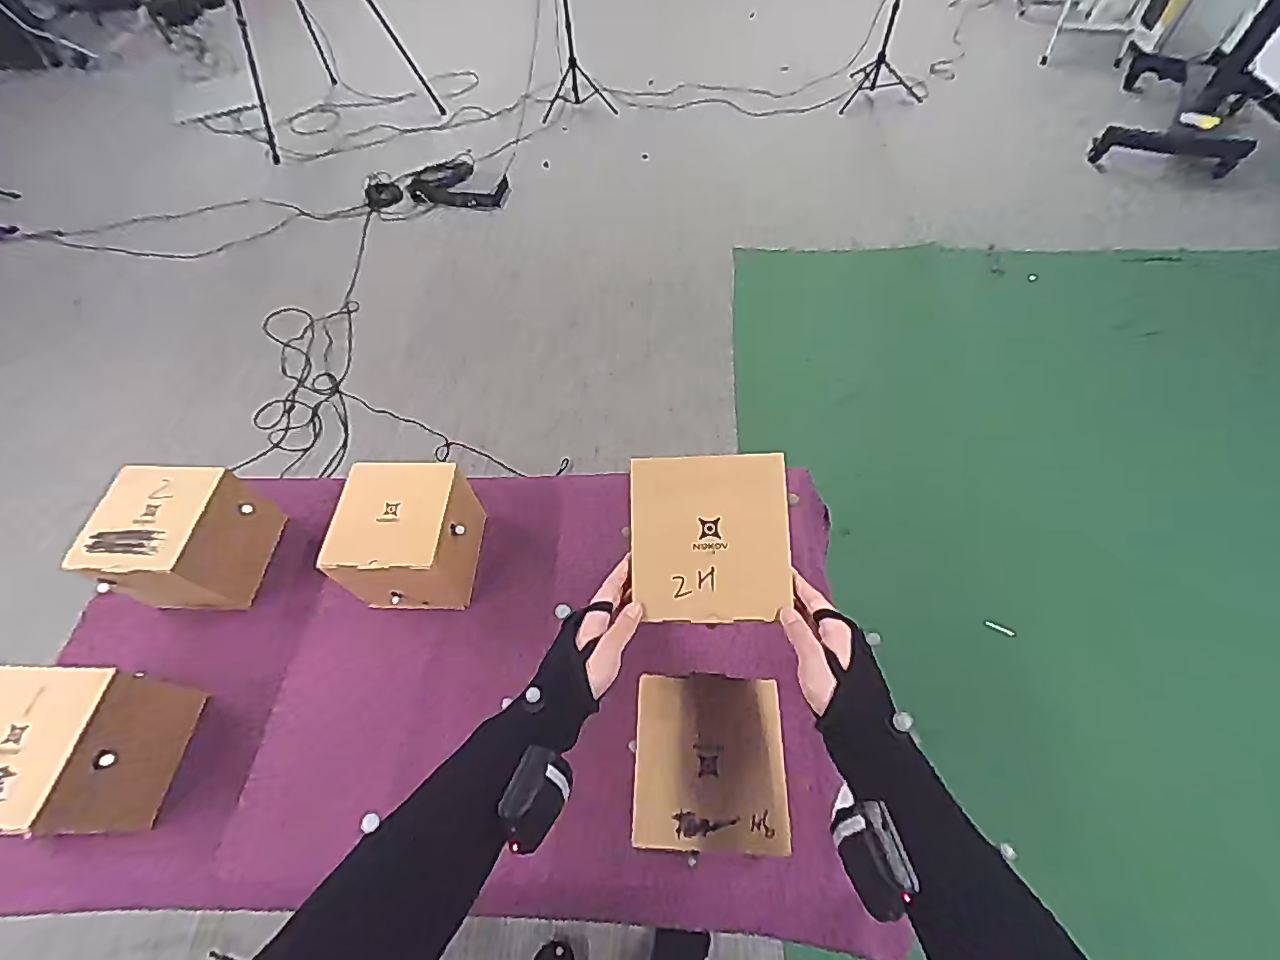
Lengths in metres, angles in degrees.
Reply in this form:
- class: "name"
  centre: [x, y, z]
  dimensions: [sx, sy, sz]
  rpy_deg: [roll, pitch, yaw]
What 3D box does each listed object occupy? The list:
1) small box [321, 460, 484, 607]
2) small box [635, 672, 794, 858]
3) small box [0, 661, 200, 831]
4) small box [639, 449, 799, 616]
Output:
- class: "small box"
  centre: [-0.356, 0.087, 0.853]
  dimensions: [0.168, 0.176, 0.179]
  rpy_deg: [1, 59, 2]
- class: "small box"
  centre: [0.083, 0.351, 0.663]
  dimensions: [0.168, 0.176, 0.179]
  rpy_deg: [1, 55, 4]
- class: "small box"
  centre: [-0.732, 0.346, 0.699]
  dimensions: [0.168, 0.176, 0.179]
  rpy_deg: [1, 57, 2]
- class: "small box"
  centre: [0.089, 0.069, 0.646]
  dimensions: [0.168, 0.176, 0.179]
  rpy_deg: [-2, 80, 7]
